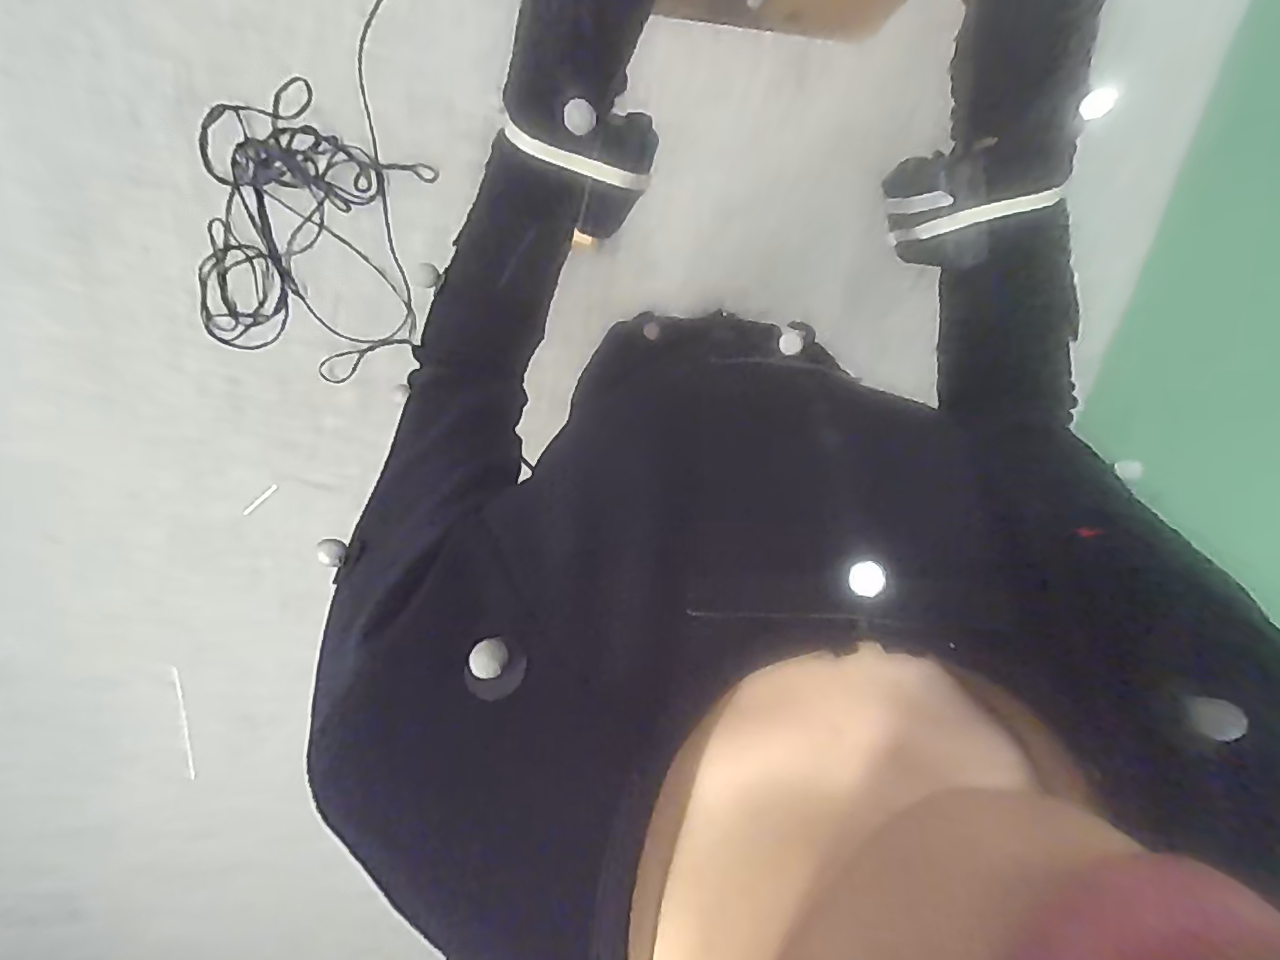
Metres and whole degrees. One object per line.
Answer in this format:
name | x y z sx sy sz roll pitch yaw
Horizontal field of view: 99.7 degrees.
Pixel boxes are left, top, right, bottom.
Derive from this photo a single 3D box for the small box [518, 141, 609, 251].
small box | -0.168 -0.632 1.228 0.168 0.176 0.179 11 106 -3
